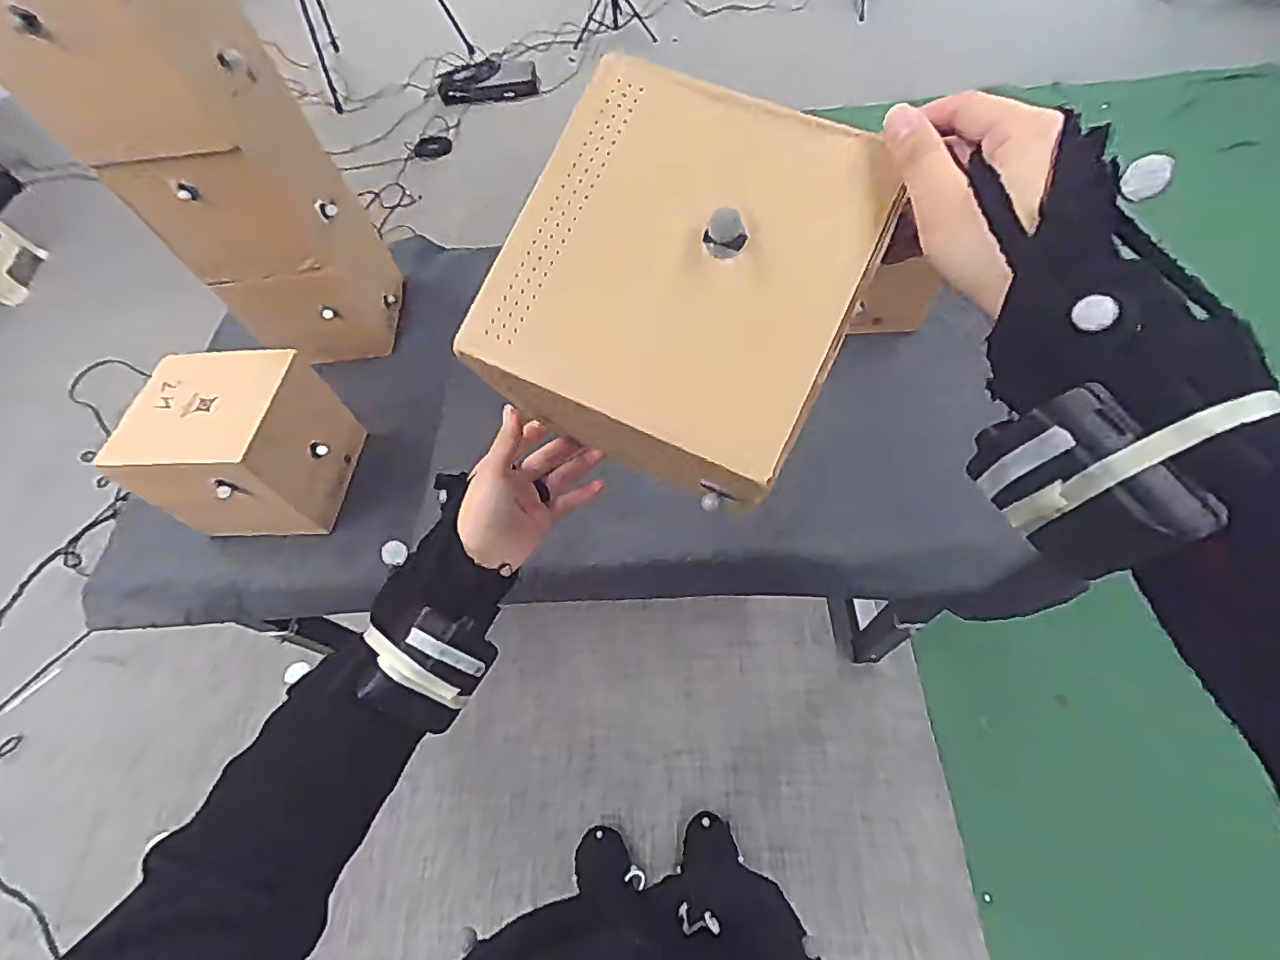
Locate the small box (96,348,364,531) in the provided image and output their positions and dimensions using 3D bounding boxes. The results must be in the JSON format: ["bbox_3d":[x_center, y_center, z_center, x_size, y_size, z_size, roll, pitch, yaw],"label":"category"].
[{"bbox_3d":[-0.484,-0.044,0.677,0.179,0.176,0.168,-1,58,5],"label":"small box"}]

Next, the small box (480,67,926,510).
[{"bbox_3d":[0.032,-0.100,0.332,0.176,0.168,0.179,24,85,10],"label":"small box"}]

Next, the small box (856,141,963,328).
[{"bbox_3d":[0.311,-0.335,0.754,0.168,0.176,0.179,-1,62,6],"label":"small box"}]

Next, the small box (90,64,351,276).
[{"bbox_3d":[-0.506,-0.381,0.685,0.179,0.176,0.168,-6,63,1],"label":"small box"}]

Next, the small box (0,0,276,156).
[{"bbox_3d":[-0.517,-0.451,0.537,0.179,0.176,0.168,-4,63,3],"label":"small box"}]
